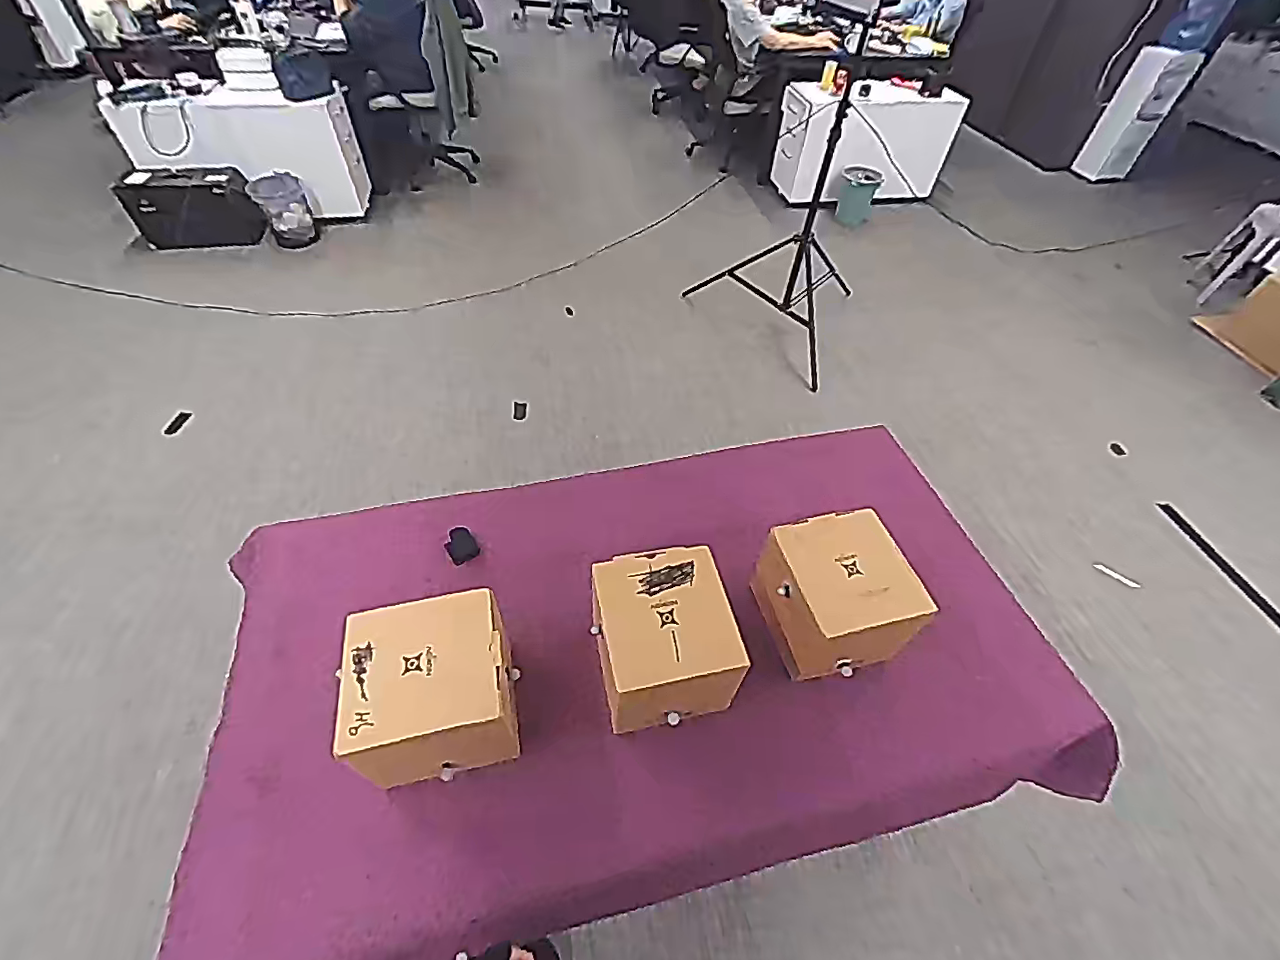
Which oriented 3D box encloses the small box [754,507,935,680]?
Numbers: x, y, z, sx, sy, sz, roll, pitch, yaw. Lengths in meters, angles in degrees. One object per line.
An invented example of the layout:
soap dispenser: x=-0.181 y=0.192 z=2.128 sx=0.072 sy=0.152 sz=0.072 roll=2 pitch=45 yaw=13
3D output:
small box: x=0.286 y=0.169 z=0.807 sx=0.168 sy=0.176 sz=0.179 roll=-11 pitch=52 yaw=-11

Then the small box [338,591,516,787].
small box: x=-0.256 y=0.267 z=0.689 sx=0.179 sy=0.176 sz=0.168 roll=-9 pitch=50 yaw=-12

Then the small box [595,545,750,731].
small box: x=0.031 y=0.218 z=0.747 sx=0.168 sy=0.176 sz=0.179 roll=-9 pitch=51 yaw=-10
